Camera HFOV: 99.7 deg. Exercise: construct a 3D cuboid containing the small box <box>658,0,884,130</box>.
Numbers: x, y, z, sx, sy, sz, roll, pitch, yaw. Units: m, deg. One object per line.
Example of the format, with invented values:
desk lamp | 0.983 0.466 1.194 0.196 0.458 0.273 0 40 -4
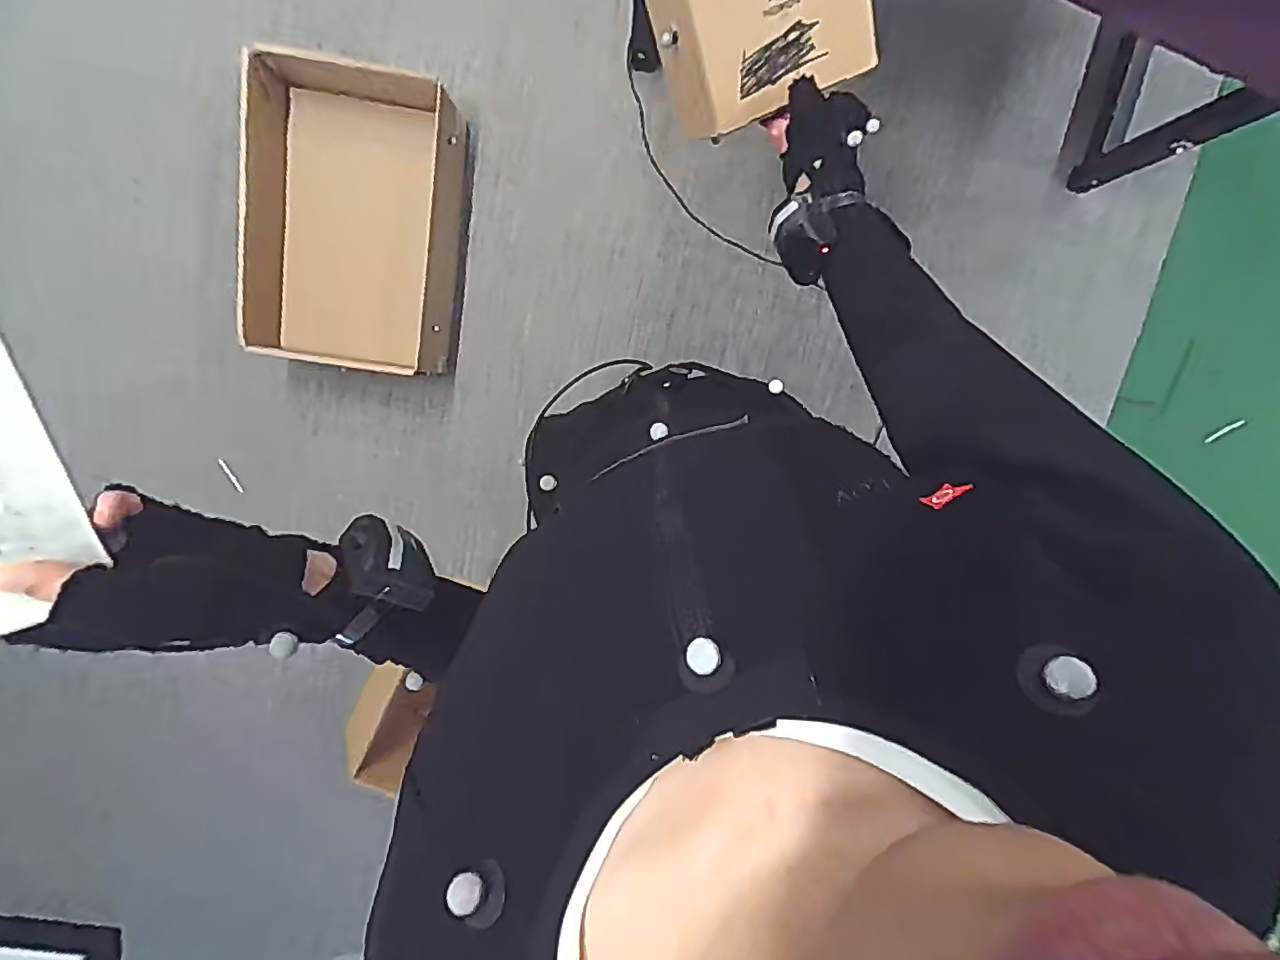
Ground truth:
small box | 0.121 -0.482 0.550 0.168 0.176 0.179 -21 121 3
